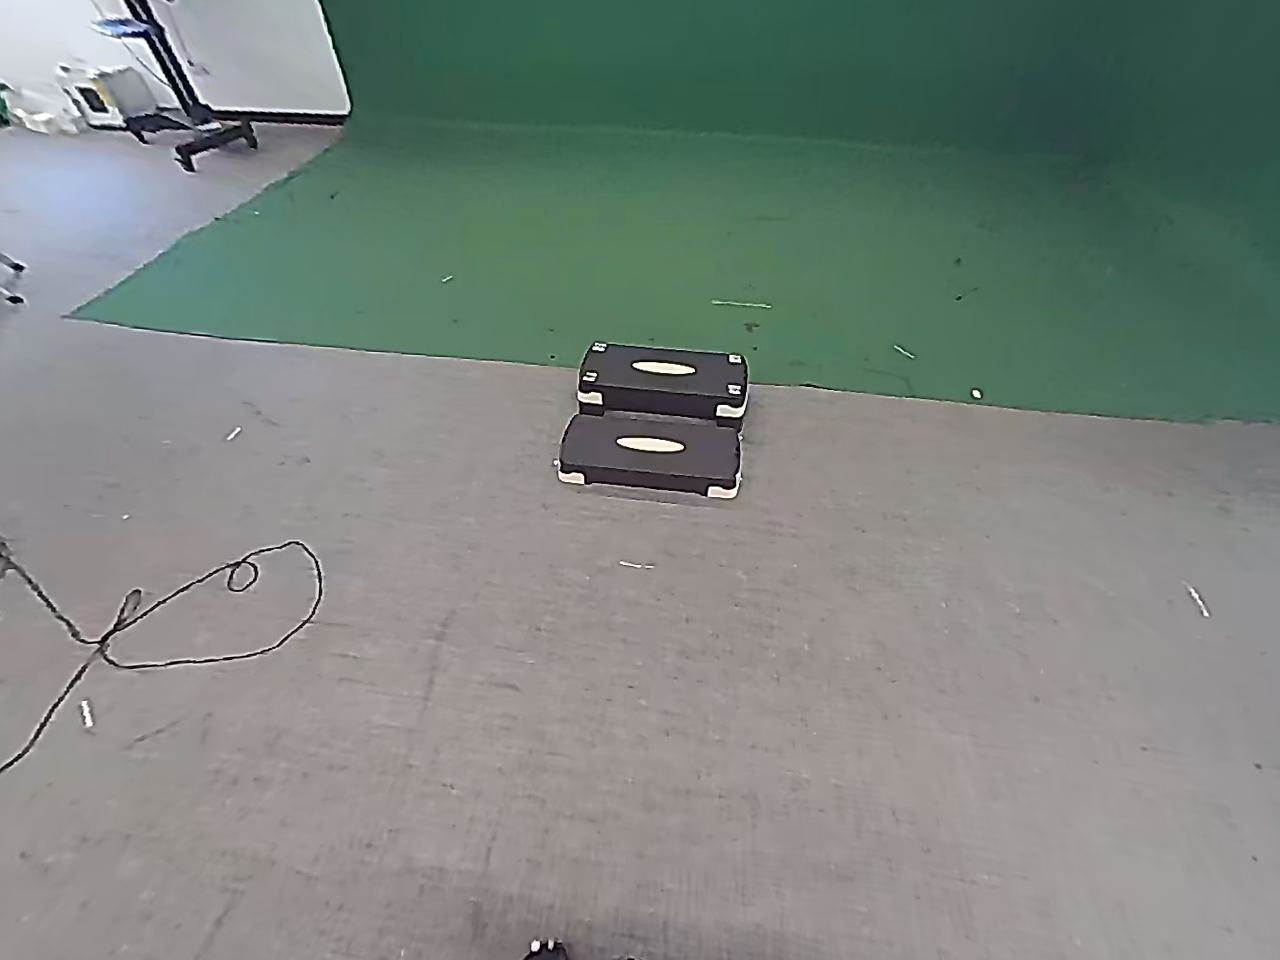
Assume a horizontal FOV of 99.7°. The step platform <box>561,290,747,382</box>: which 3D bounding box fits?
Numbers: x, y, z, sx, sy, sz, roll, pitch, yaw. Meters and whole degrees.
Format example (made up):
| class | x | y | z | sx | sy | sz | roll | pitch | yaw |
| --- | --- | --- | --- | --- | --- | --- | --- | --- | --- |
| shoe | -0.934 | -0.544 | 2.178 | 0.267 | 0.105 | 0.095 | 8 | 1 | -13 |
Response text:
| class | x | y | z | sx | sy | sz | roll | pitch | yaw |
| --- | --- | --- | --- | --- | --- | --- | --- | --- | --- |
| step platform | 0.053 | -0.552 | 2.075 | 0.684 | 0.204 | 0.286 | 5 | 49 | 5 |
